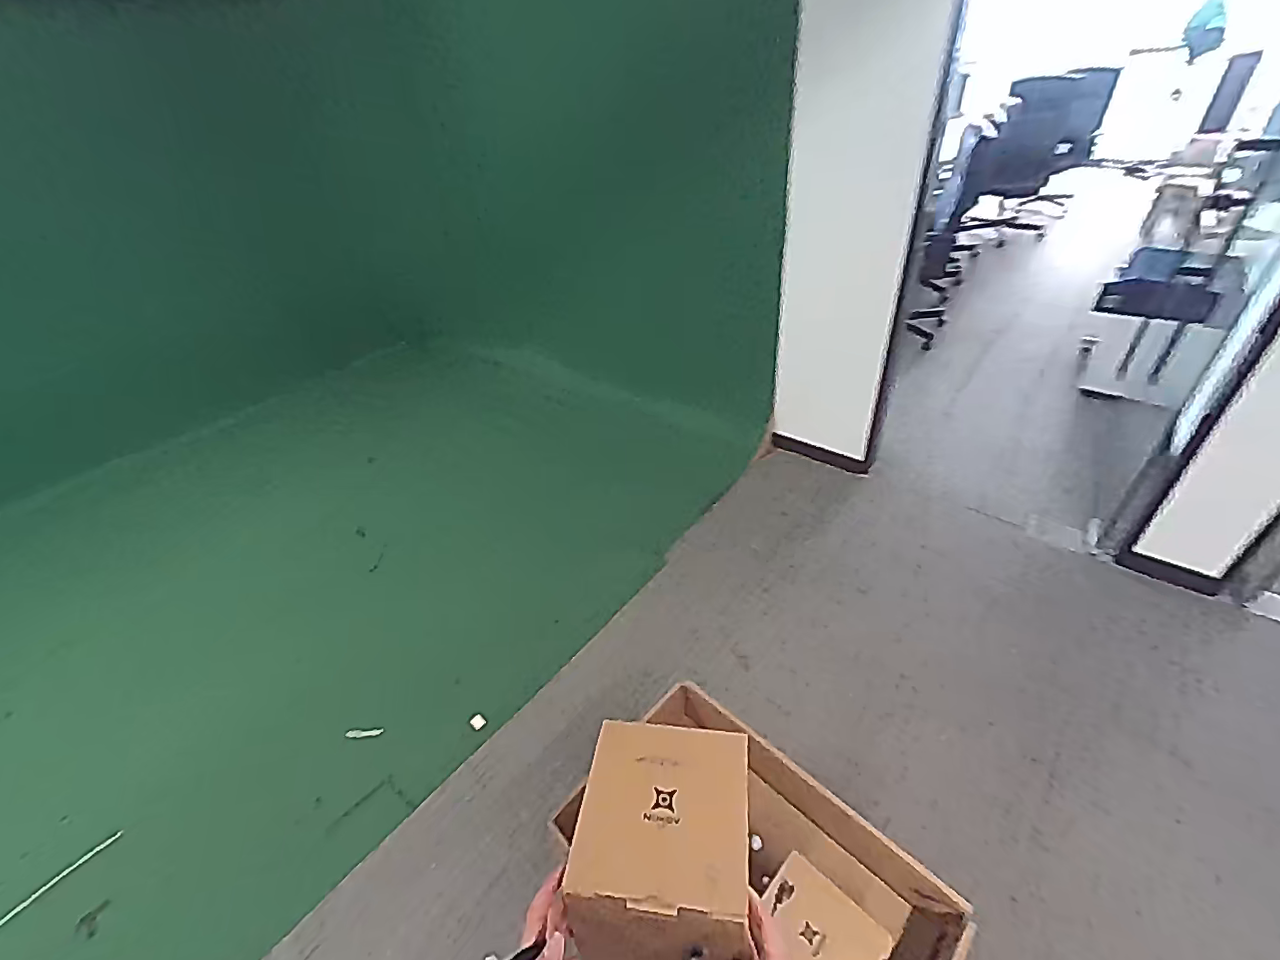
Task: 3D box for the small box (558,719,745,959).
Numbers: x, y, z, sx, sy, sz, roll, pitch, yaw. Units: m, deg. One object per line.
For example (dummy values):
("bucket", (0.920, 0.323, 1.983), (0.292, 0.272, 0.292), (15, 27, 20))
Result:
("small box", (0.026, 0.389, 0.572), (0.168, 0.176, 0.179), (2, 30, 10))
